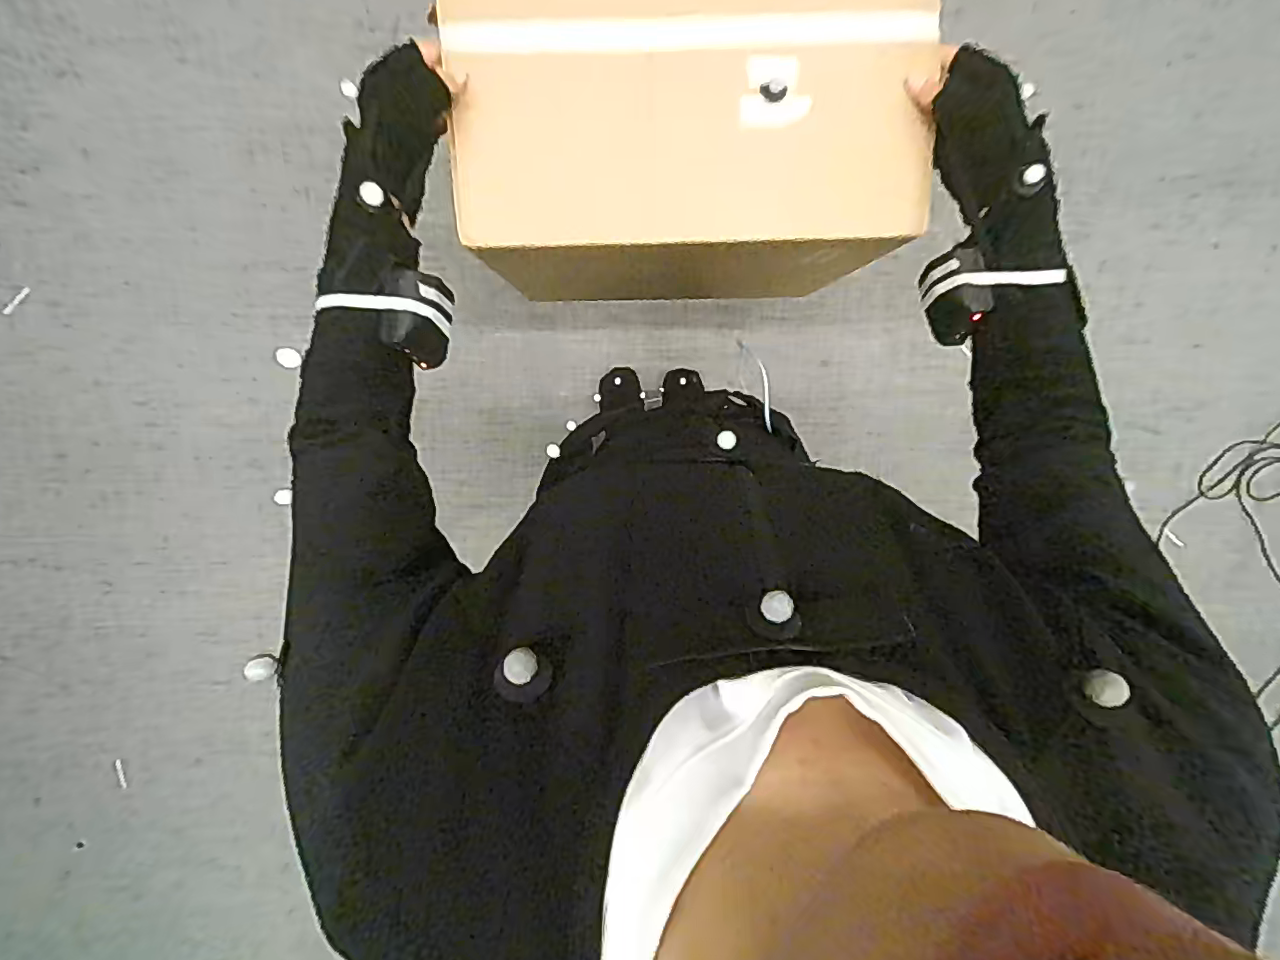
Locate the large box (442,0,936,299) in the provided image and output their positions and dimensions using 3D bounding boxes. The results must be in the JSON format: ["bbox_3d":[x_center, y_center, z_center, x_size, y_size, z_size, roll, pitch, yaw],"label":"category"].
[{"bbox_3d":[0.037,-0.387,0.583,0.408,0.320,0.320,-2,100,-1],"label":"large box"}]
